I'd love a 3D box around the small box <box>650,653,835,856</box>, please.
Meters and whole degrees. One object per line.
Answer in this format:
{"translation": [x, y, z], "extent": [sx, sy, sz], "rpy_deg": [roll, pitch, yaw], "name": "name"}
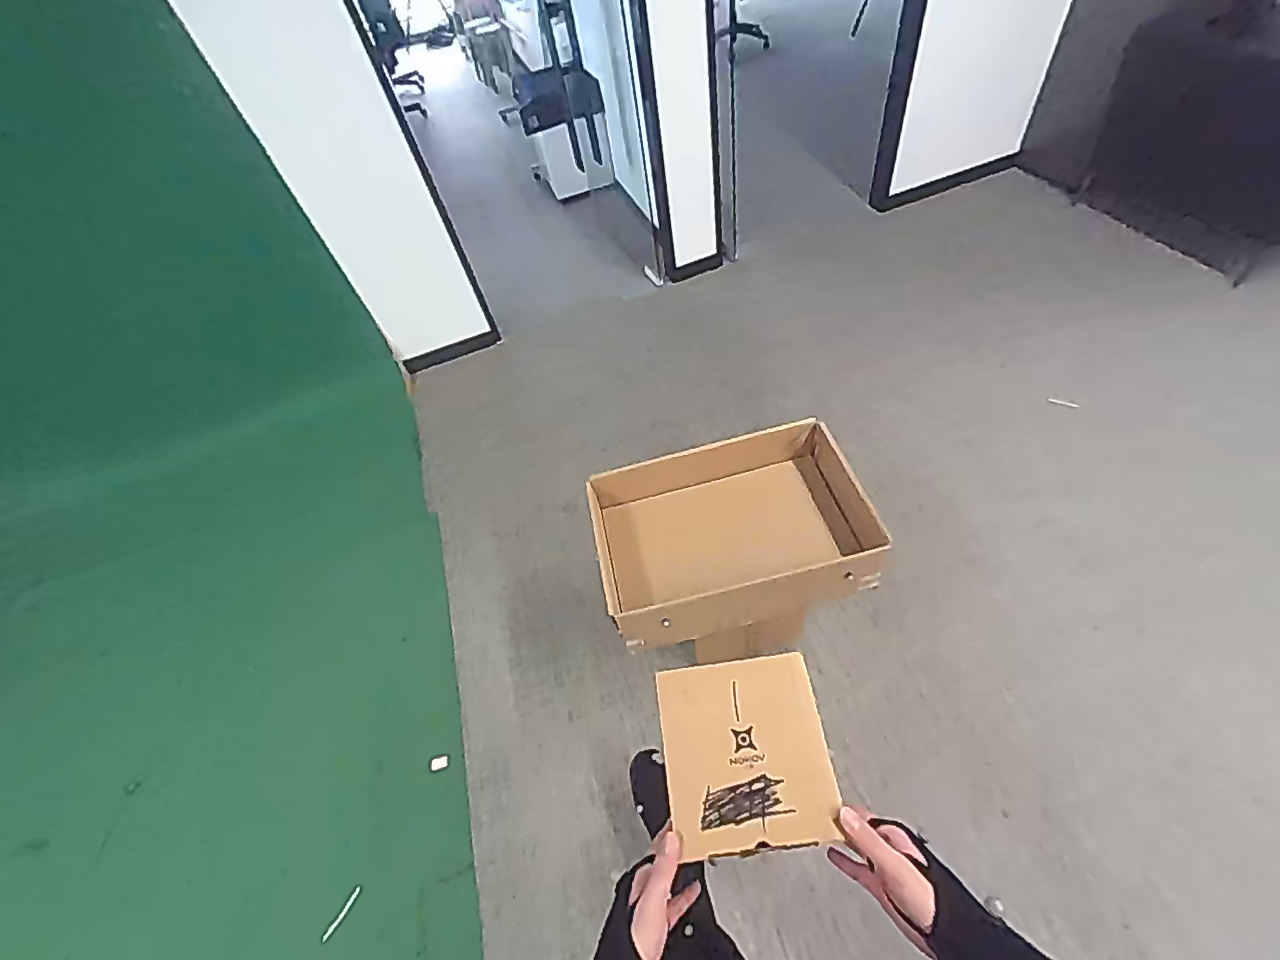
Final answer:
{"translation": [0.111, 0.317, 0.627], "extent": [0.168, 0.176, 0.179], "rpy_deg": [-10, 57, 4], "name": "small box"}
